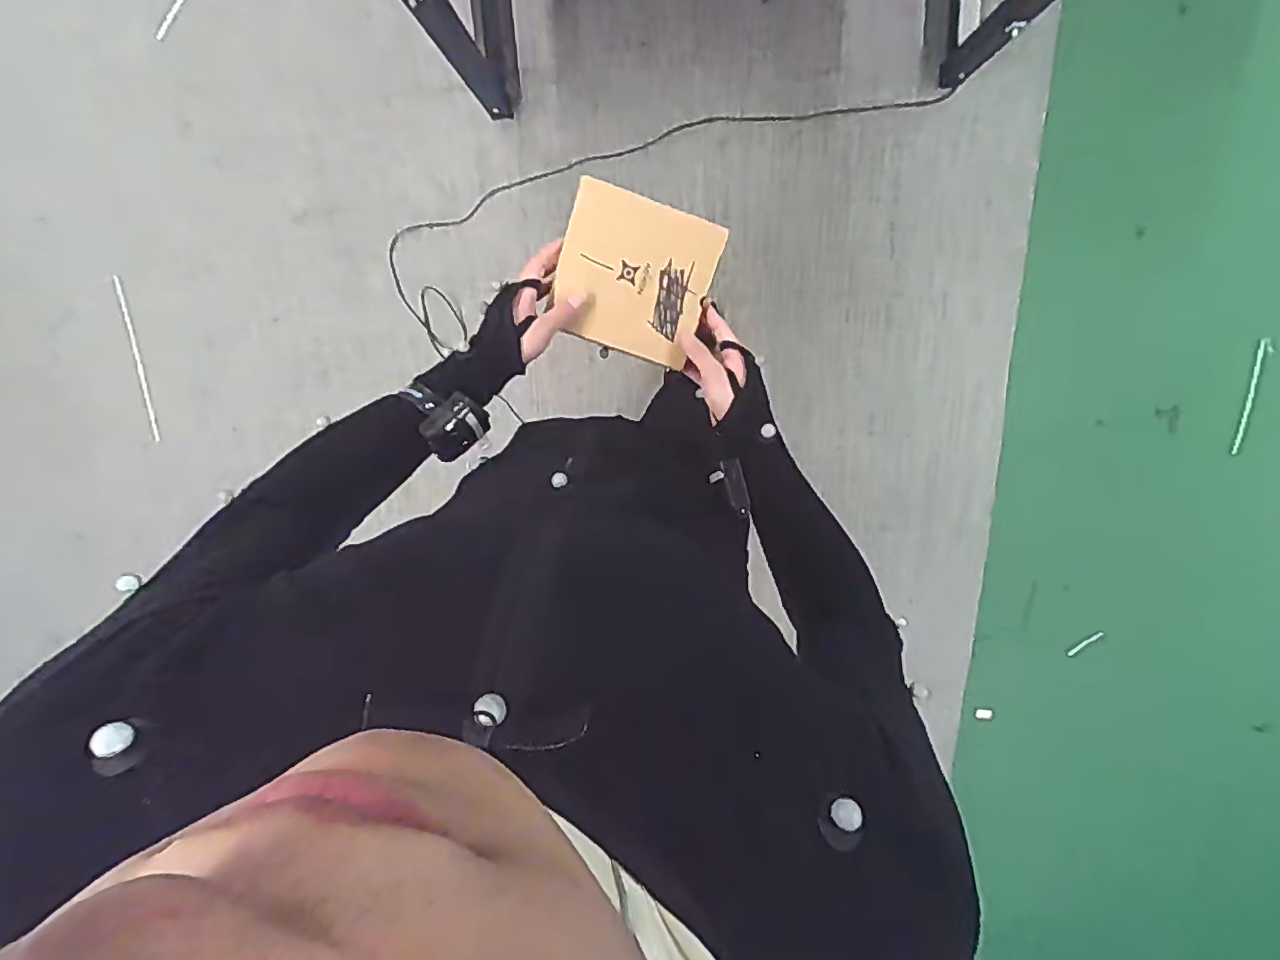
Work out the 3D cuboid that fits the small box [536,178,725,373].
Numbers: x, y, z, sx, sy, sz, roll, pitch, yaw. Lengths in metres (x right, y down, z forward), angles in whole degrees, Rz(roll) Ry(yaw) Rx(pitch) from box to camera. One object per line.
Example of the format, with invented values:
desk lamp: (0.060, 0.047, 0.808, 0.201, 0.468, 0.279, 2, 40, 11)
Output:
small box: (-0.016, -0.243, 0.679, 0.179, 0.176, 0.168, 17, 101, -7)
